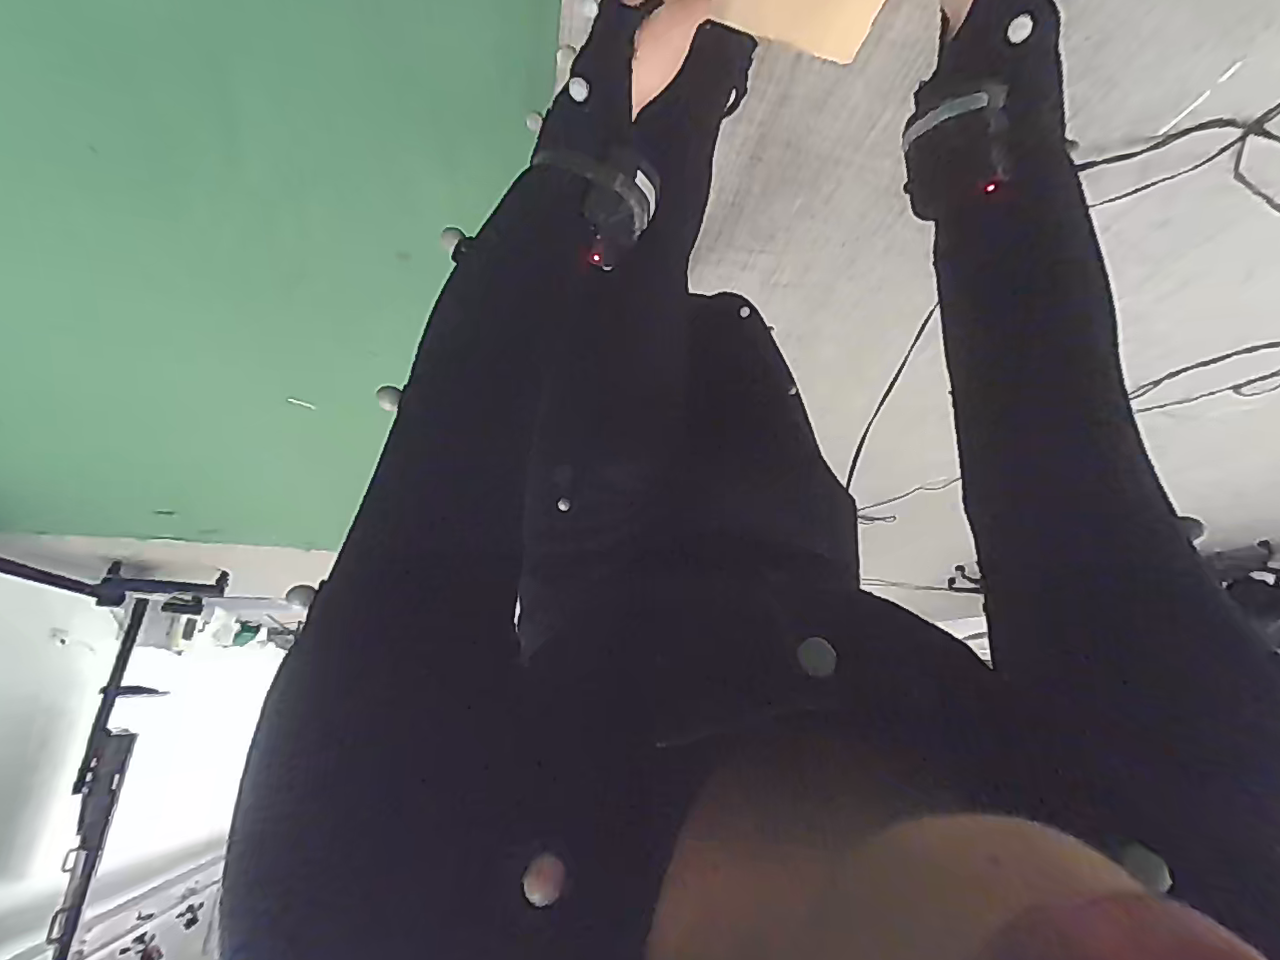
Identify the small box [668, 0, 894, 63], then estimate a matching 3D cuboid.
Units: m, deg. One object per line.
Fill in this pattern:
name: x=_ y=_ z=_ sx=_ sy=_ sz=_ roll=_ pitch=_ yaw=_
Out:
small box: x=0.121 y=-0.467 z=0.399 sx=0.179 sy=0.176 sz=0.168 roll=5 pitch=156 yaw=-16
